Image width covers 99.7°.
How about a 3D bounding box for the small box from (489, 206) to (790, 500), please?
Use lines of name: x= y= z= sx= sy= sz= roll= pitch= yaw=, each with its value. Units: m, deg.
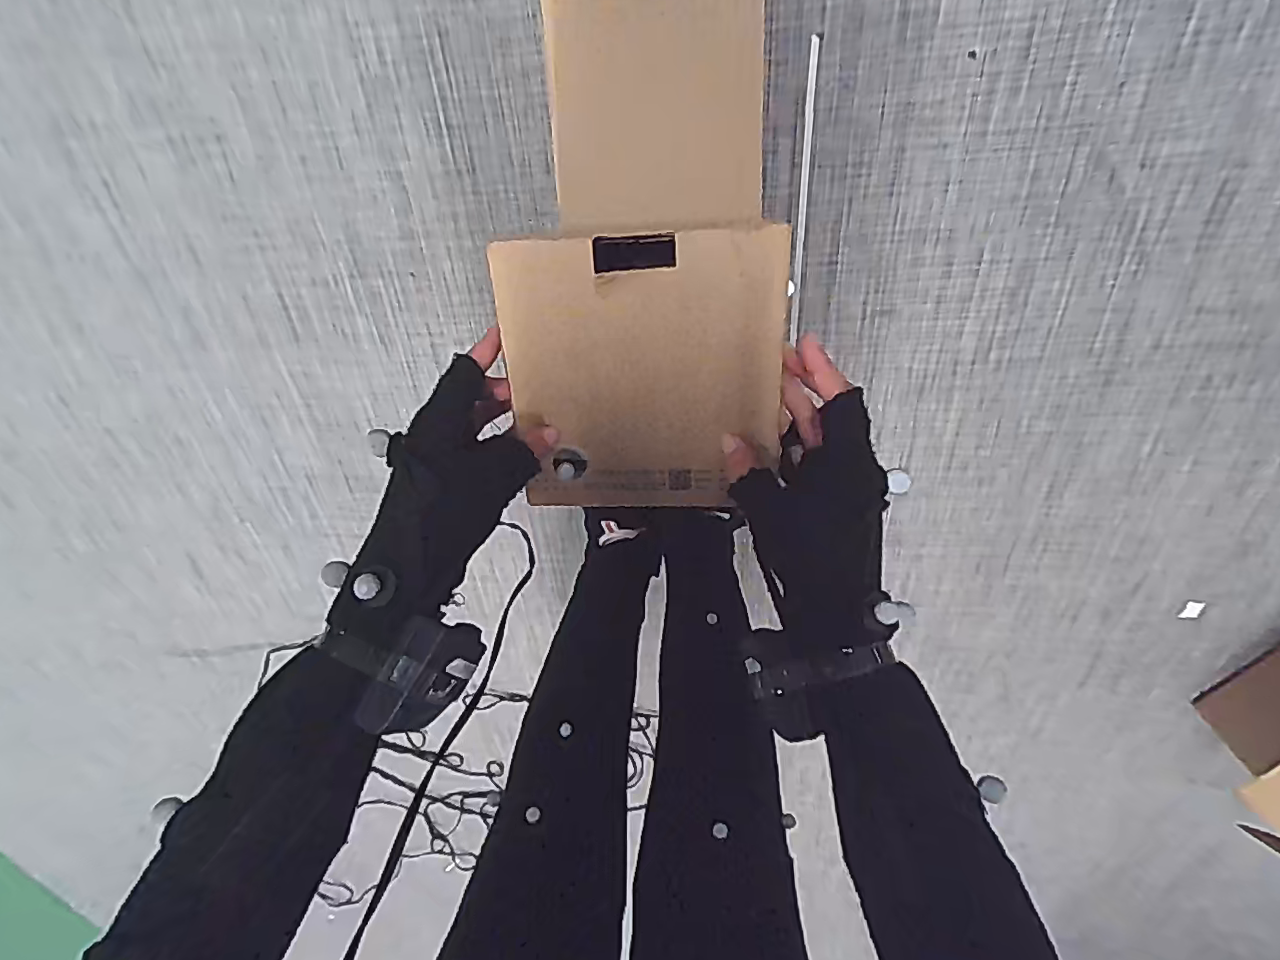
small box: x=0.012 y=-0.096 z=0.393 sx=0.168 sy=0.179 sz=0.176 roll=0 pitch=119 yaw=7
